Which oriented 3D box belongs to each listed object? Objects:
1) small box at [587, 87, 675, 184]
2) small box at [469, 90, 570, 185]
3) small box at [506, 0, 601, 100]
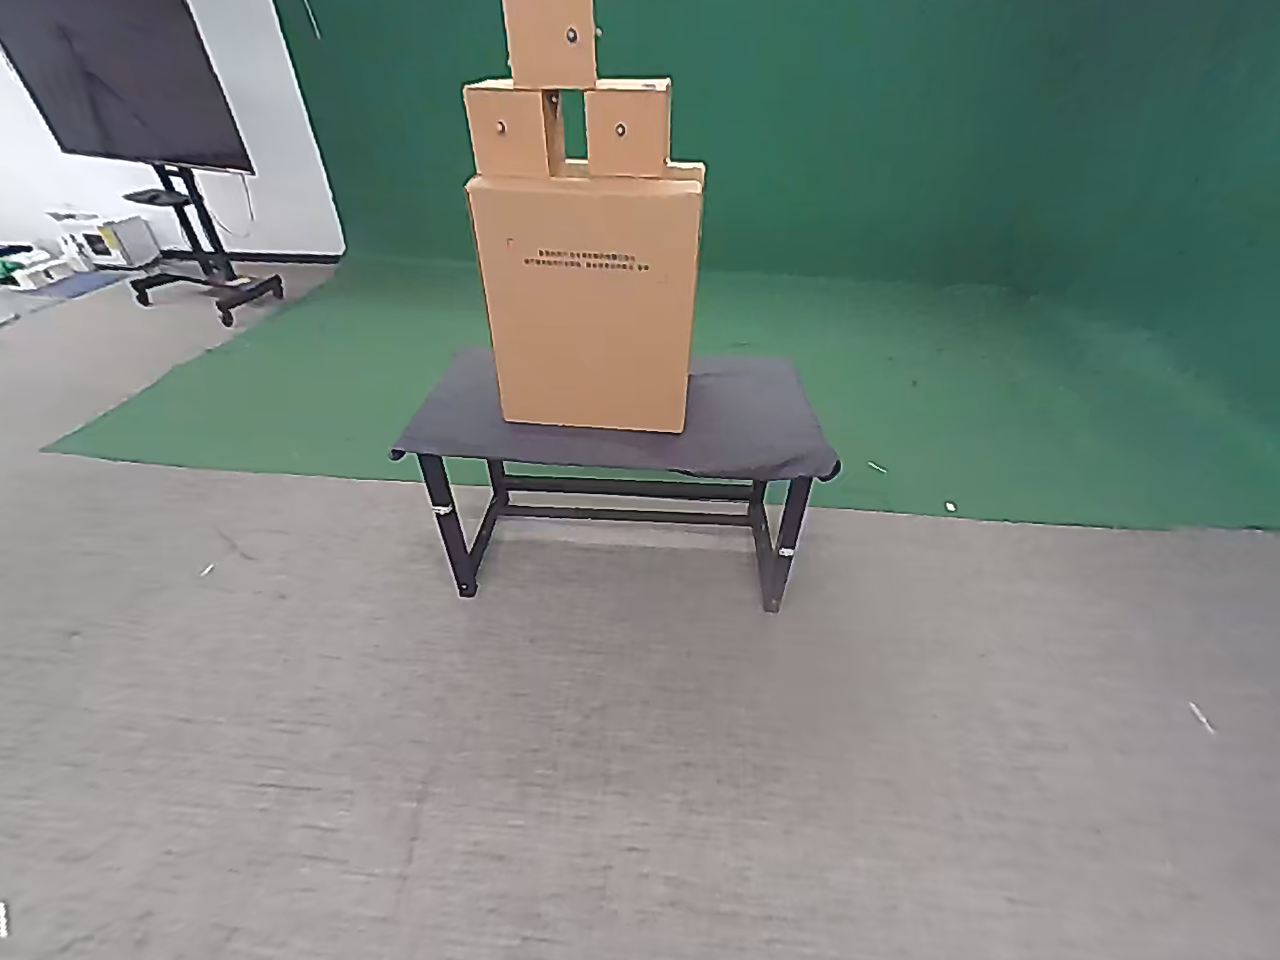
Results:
[{"bbox_3d":[-0.015,-0.802,1.264,0.179,0.176,0.168,4,42,7],"label":"small box"},{"bbox_3d":[-0.273,-0.805,1.271,0.179,0.176,0.168,5,42,6],"label":"small box"},{"bbox_3d":[-0.175,-0.925,1.160,0.179,0.176,0.168,-3,40,-1],"label":"small box"}]
